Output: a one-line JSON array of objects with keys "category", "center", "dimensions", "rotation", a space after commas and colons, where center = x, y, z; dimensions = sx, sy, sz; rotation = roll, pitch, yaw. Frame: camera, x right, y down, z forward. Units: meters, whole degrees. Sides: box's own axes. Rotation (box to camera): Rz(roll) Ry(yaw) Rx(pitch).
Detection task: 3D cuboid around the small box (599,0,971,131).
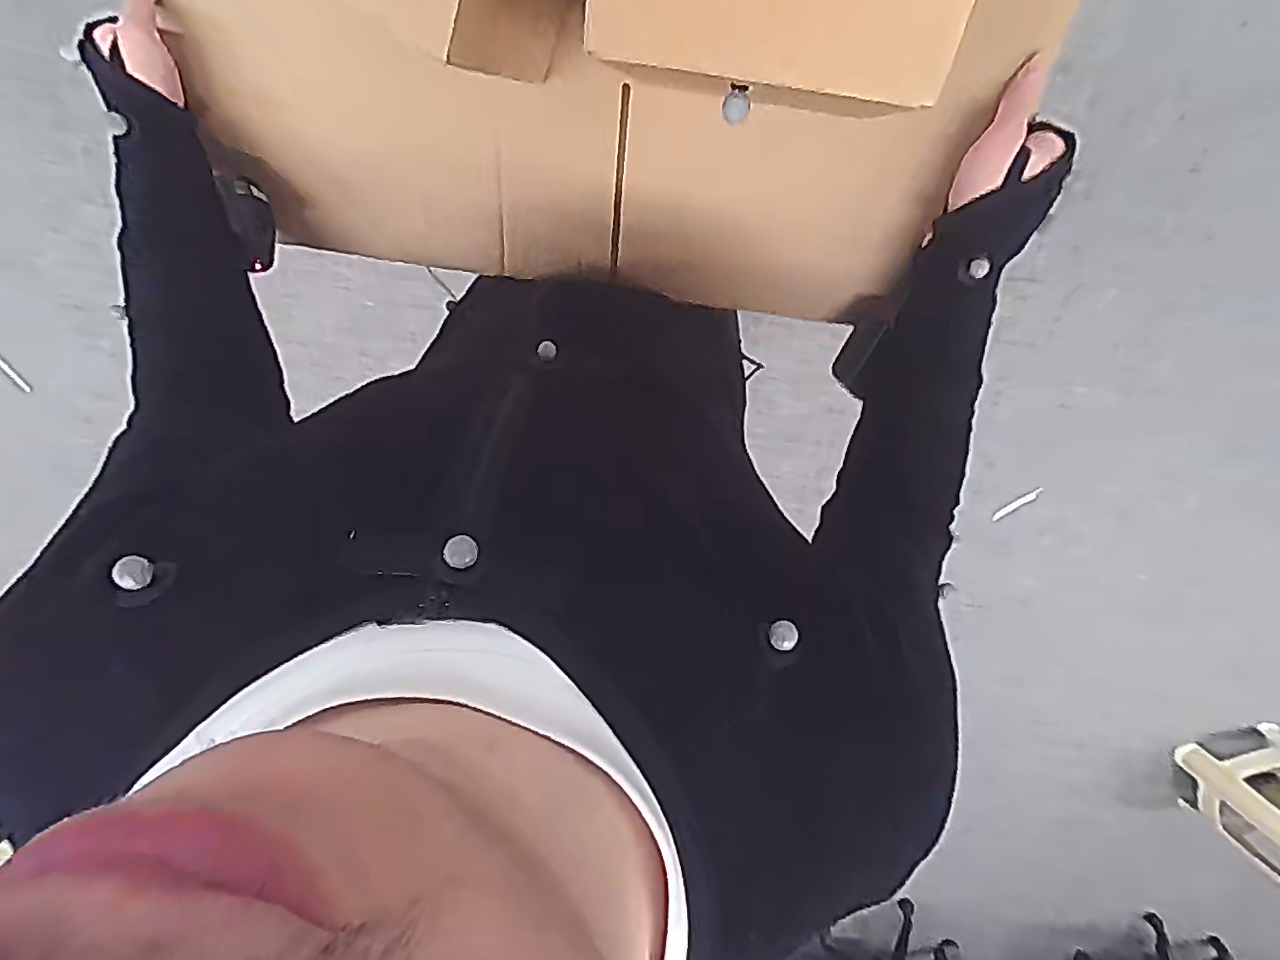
[{"category": "small box", "center": [0.085, -0.310, 0.306], "dimensions": [0.179, 0.176, 0.168], "rotation": [12, 123, 3]}]
